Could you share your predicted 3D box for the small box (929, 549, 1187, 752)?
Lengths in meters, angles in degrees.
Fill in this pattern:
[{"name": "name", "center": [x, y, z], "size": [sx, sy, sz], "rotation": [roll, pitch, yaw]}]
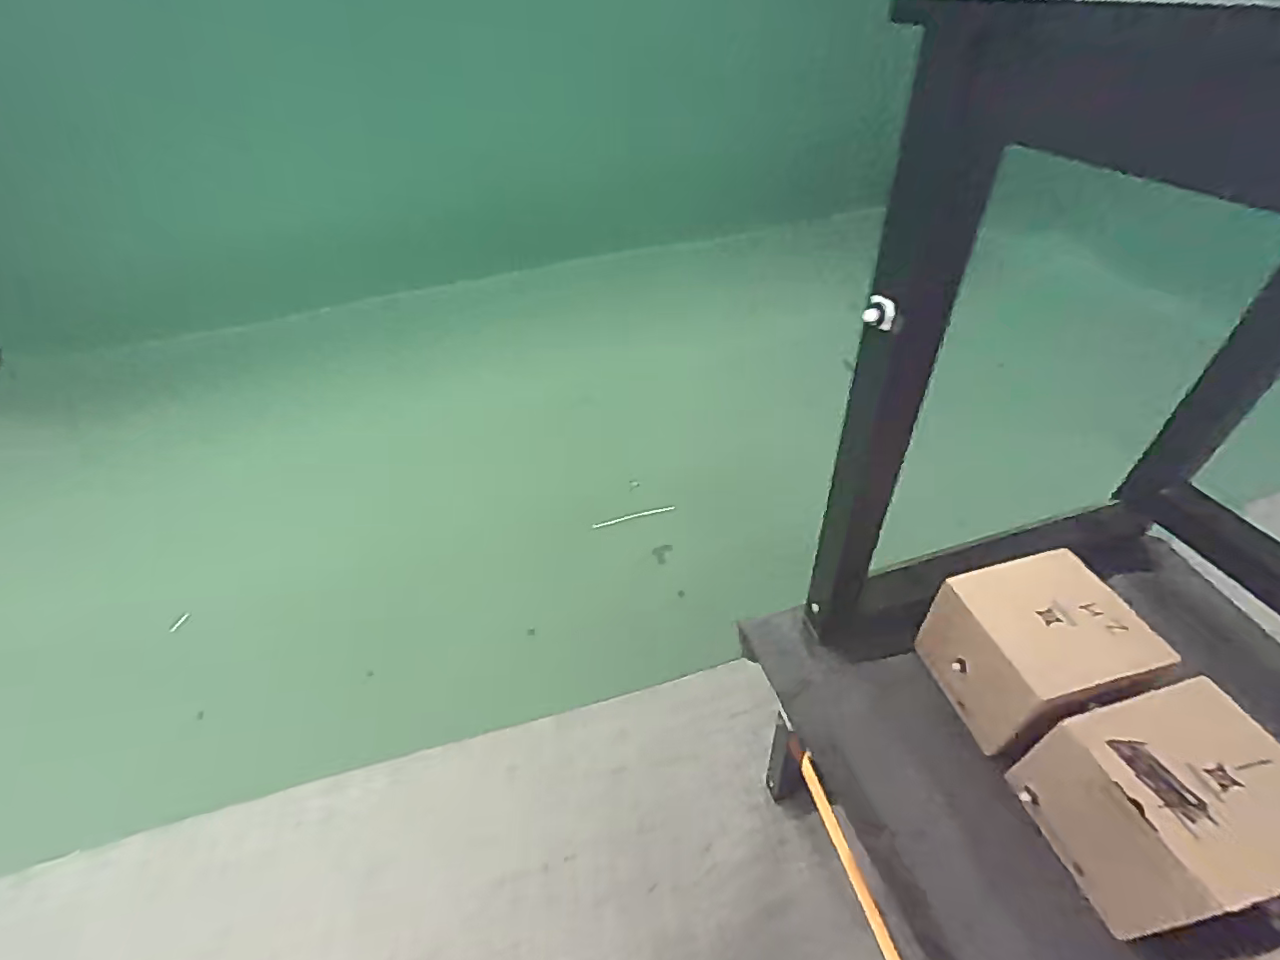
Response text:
[{"name": "small box", "center": [0.496, 0.217, 0.683], "size": [0.179, 0.176, 0.168], "rotation": [-12, 45, -5]}]
